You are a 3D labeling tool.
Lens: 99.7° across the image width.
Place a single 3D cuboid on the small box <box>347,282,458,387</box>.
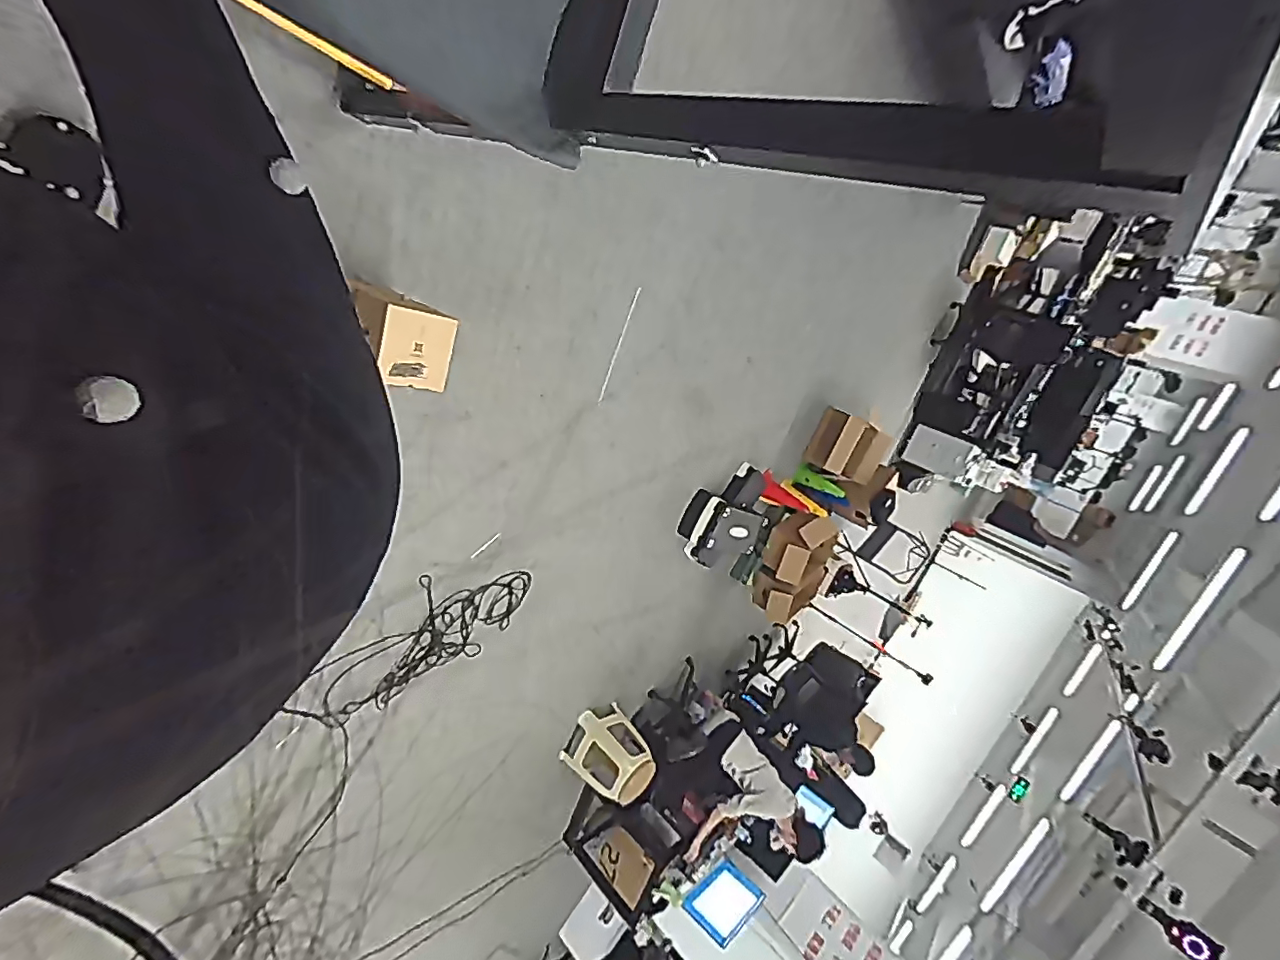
[{"bbox_3d":[-0.550,-0.332,1.240,0.168,0.176,0.179,-1,116,-50],"label":"small box"}]
